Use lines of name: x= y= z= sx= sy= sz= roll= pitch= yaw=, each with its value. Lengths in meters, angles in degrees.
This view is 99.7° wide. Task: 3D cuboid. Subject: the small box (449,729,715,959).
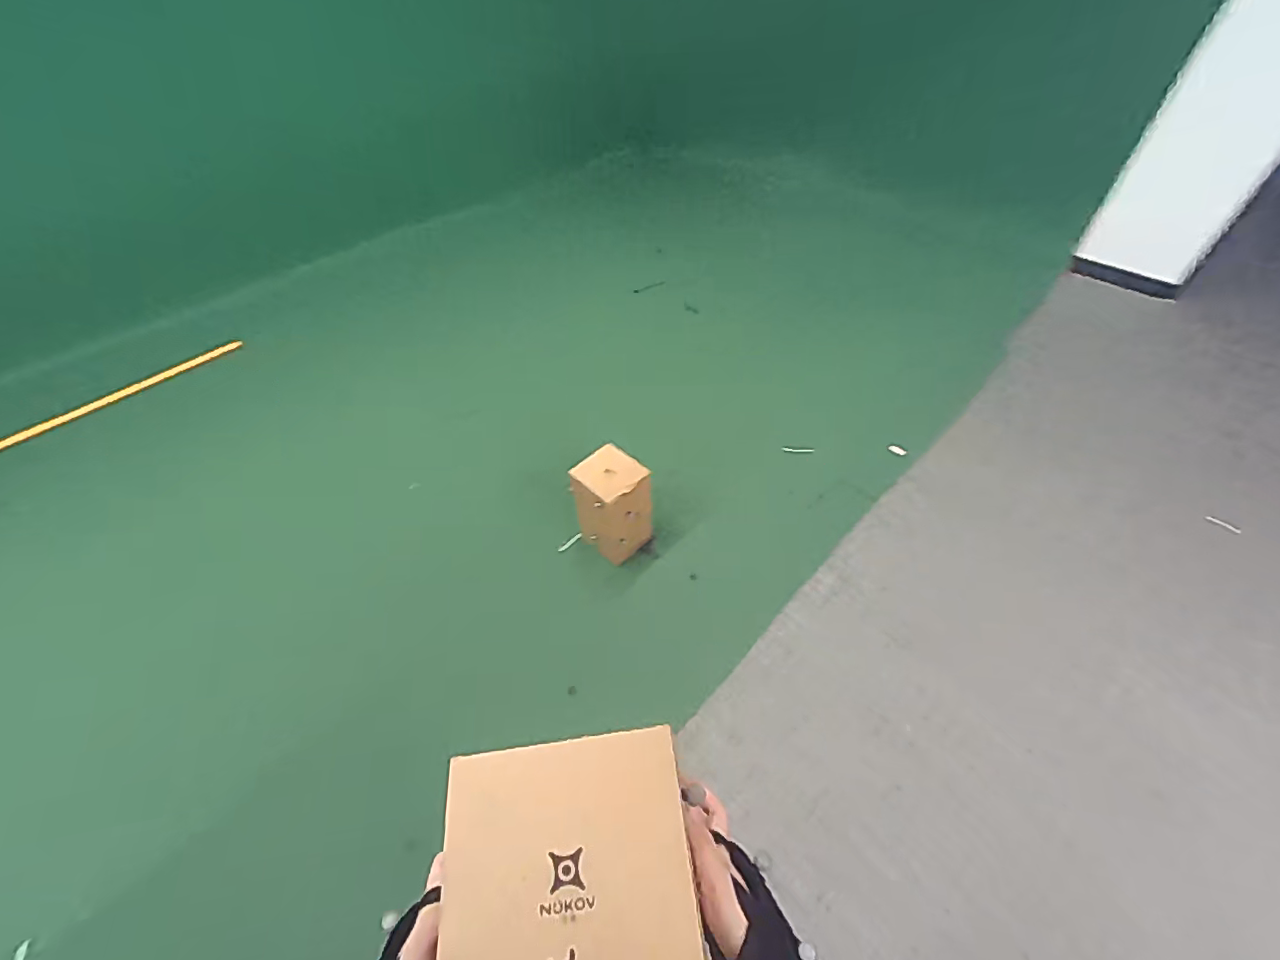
small box: x=-0.034 y=0.312 z=0.421 sx=0.168 sy=0.176 sz=0.179 roll=-9 pitch=55 yaw=2

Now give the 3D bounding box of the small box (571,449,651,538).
small box: x=-0.082 y=0.043 z=1.627 sx=0.179 sy=0.176 sz=0.168 roll=35 pitch=59 yaw=28
